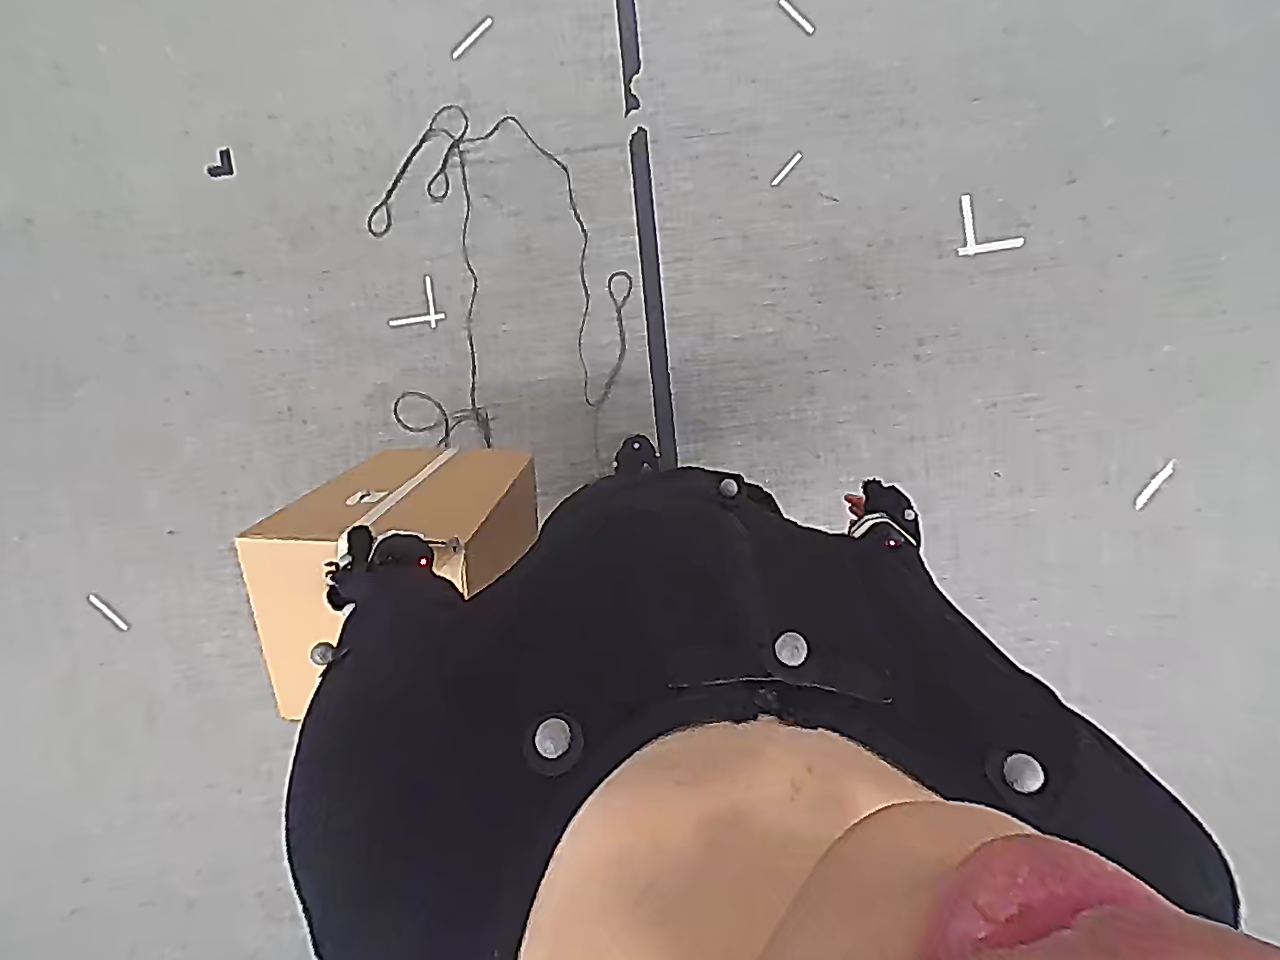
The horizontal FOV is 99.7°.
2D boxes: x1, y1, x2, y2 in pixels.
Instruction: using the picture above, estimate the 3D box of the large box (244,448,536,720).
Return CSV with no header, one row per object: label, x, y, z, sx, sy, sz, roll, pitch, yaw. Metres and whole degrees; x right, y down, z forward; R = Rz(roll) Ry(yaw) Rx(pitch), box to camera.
large box,-0.379,0.153,0.957,0.320,0.408,0.320,0,112,2
